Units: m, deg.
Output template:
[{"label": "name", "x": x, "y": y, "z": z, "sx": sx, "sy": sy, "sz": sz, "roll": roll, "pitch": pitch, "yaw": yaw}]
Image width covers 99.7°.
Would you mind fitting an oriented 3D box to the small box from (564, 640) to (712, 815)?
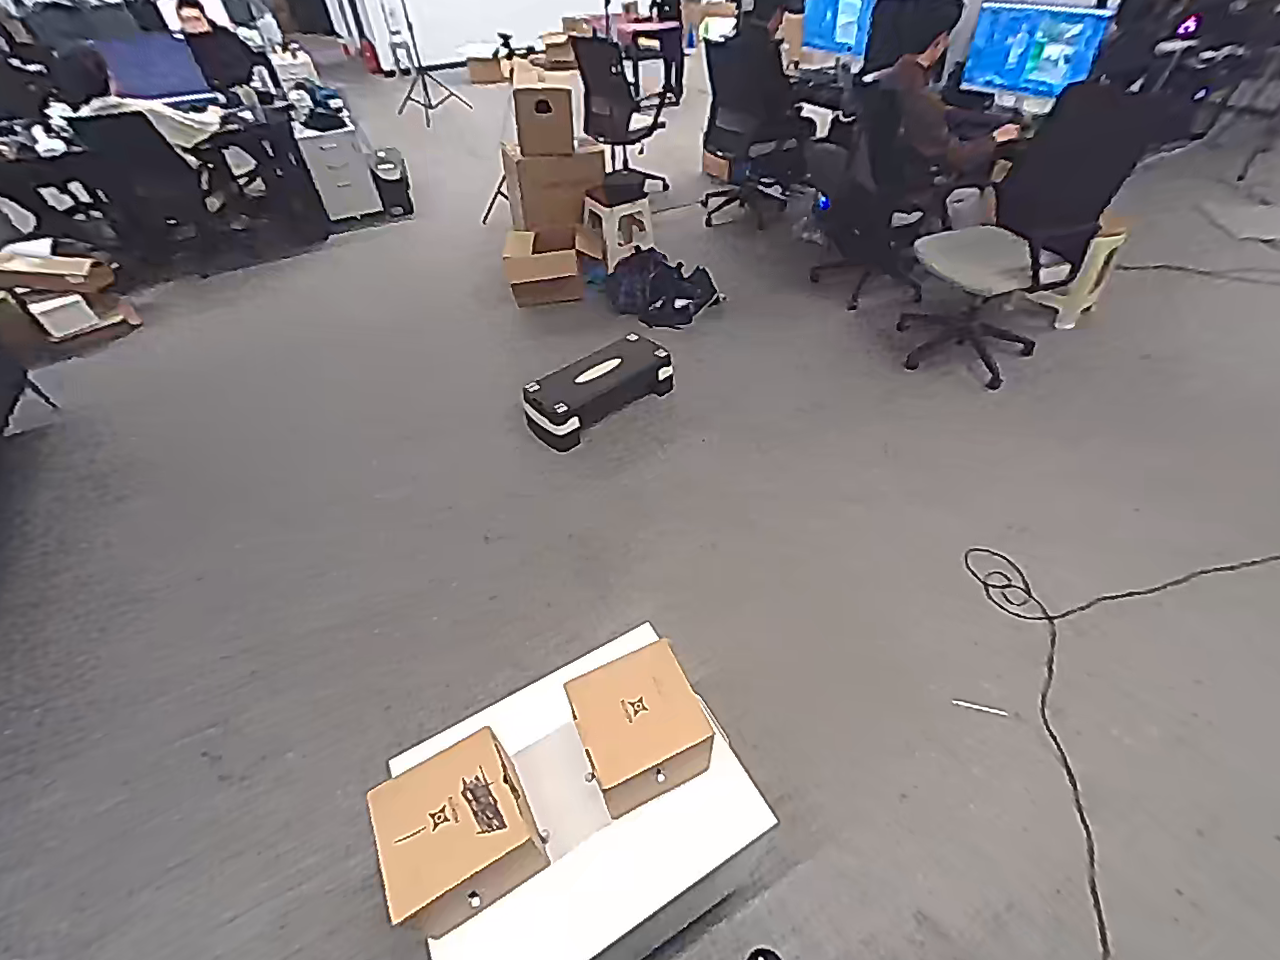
[{"label": "small box", "x": -0.001, "y": 0.391, "z": 0.850, "sx": 0.179, "sy": 0.176, "sz": 0.168, "roll": -20, "pitch": 49, "yaw": -15}]
